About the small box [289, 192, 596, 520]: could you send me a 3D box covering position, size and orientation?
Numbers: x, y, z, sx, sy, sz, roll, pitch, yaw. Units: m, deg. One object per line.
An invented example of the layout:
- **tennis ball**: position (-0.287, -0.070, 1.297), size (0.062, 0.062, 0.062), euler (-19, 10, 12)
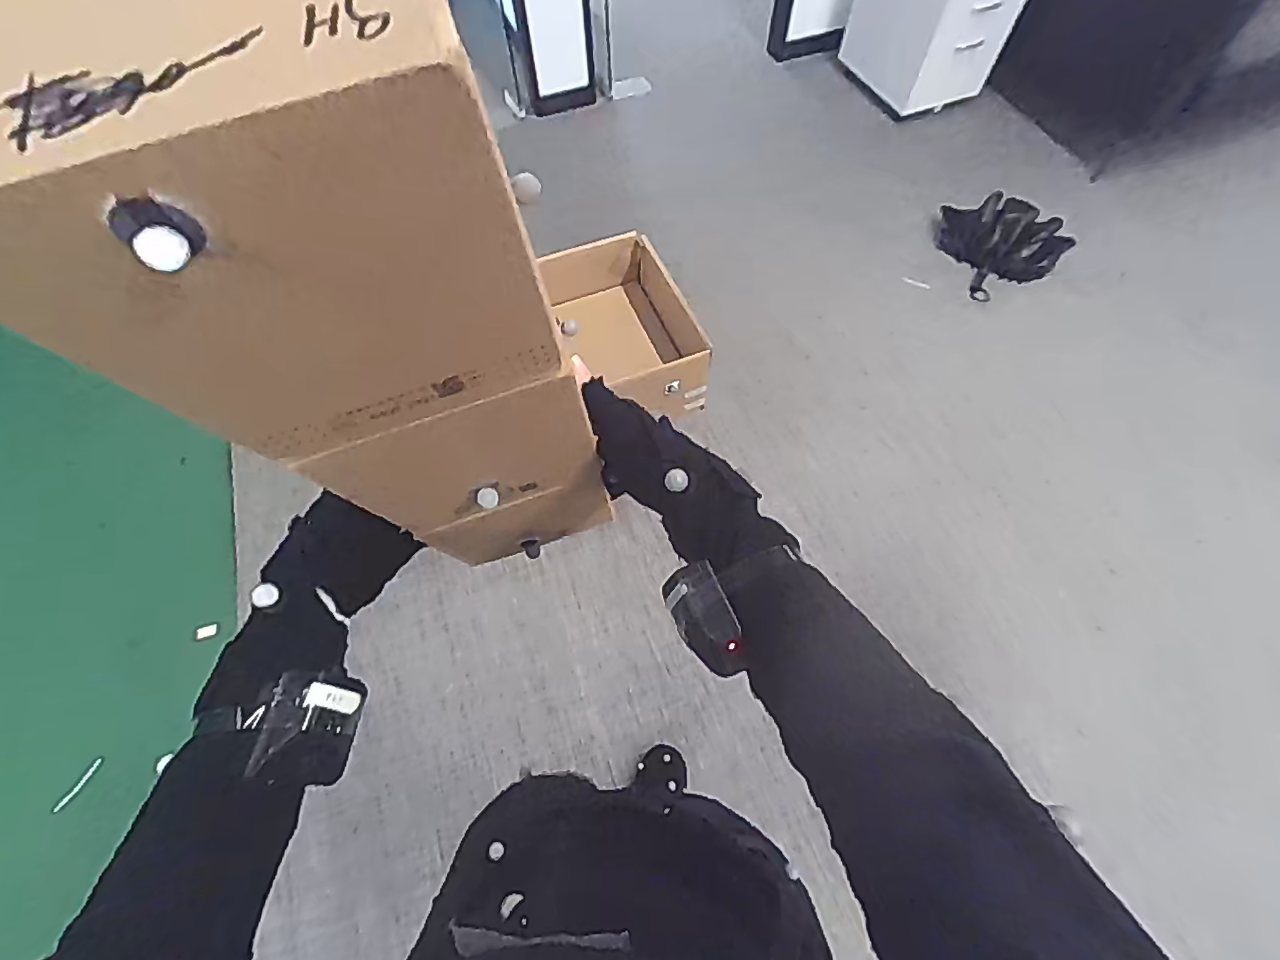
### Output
- **small box**: position (-0.141, -0.090, 0.409), size (0.168, 0.176, 0.179), euler (-19, 72, -4)

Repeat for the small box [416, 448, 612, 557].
- **small box**: position (-0.136, -0.036, 0.565), size (0.168, 0.176, 0.179), euler (-20, 73, -4)

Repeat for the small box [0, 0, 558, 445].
- **small box**: position (-0.151, -0.143, 0.255), size (0.168, 0.176, 0.179), euler (-20, 71, -3)
